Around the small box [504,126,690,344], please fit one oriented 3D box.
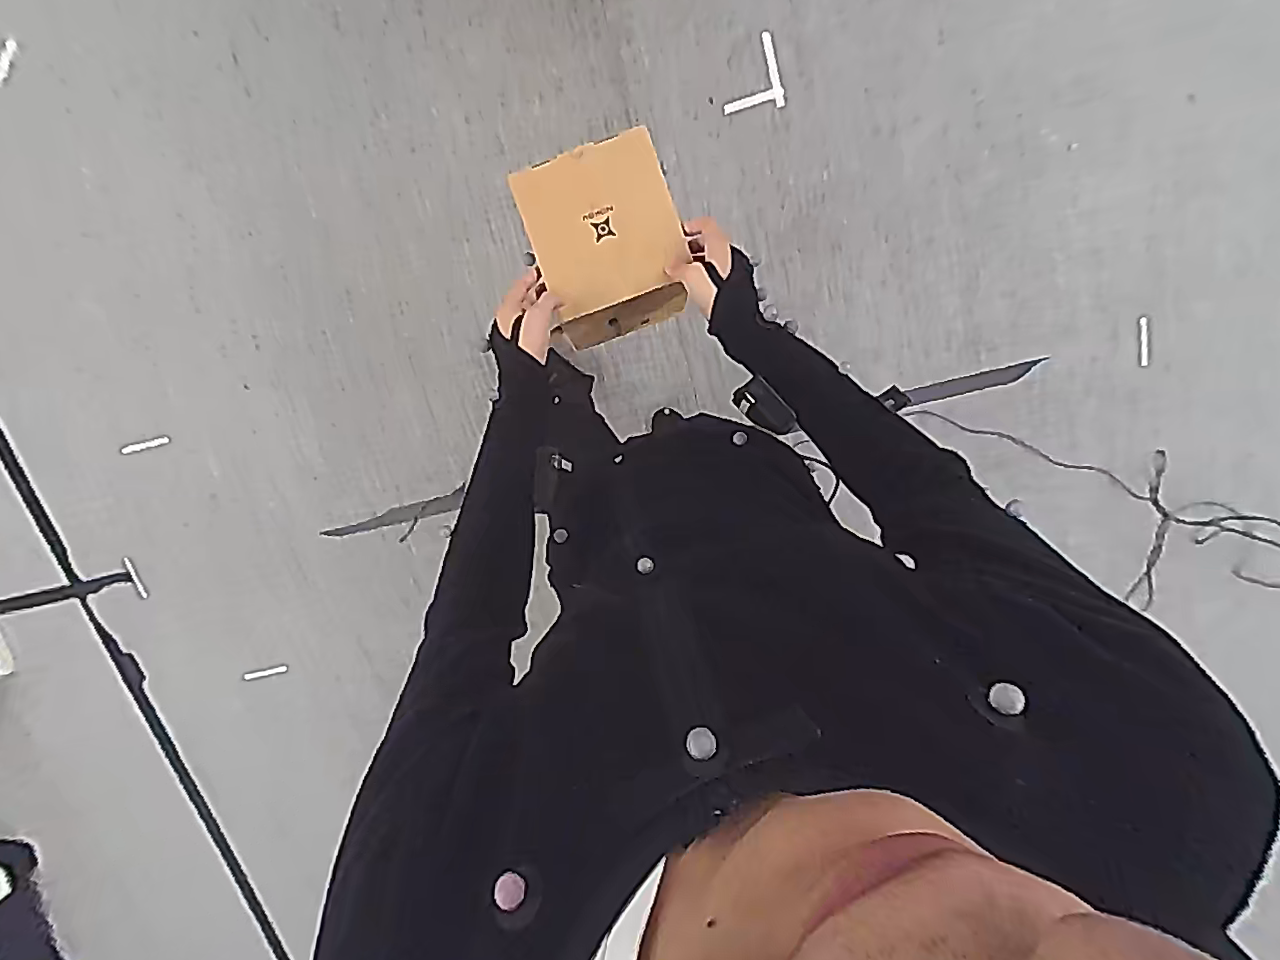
[{"bbox_3d":[-0.045,-0.283,0.675,0.168,0.176,0.179,-20,91,1],"label":"small box"}]
